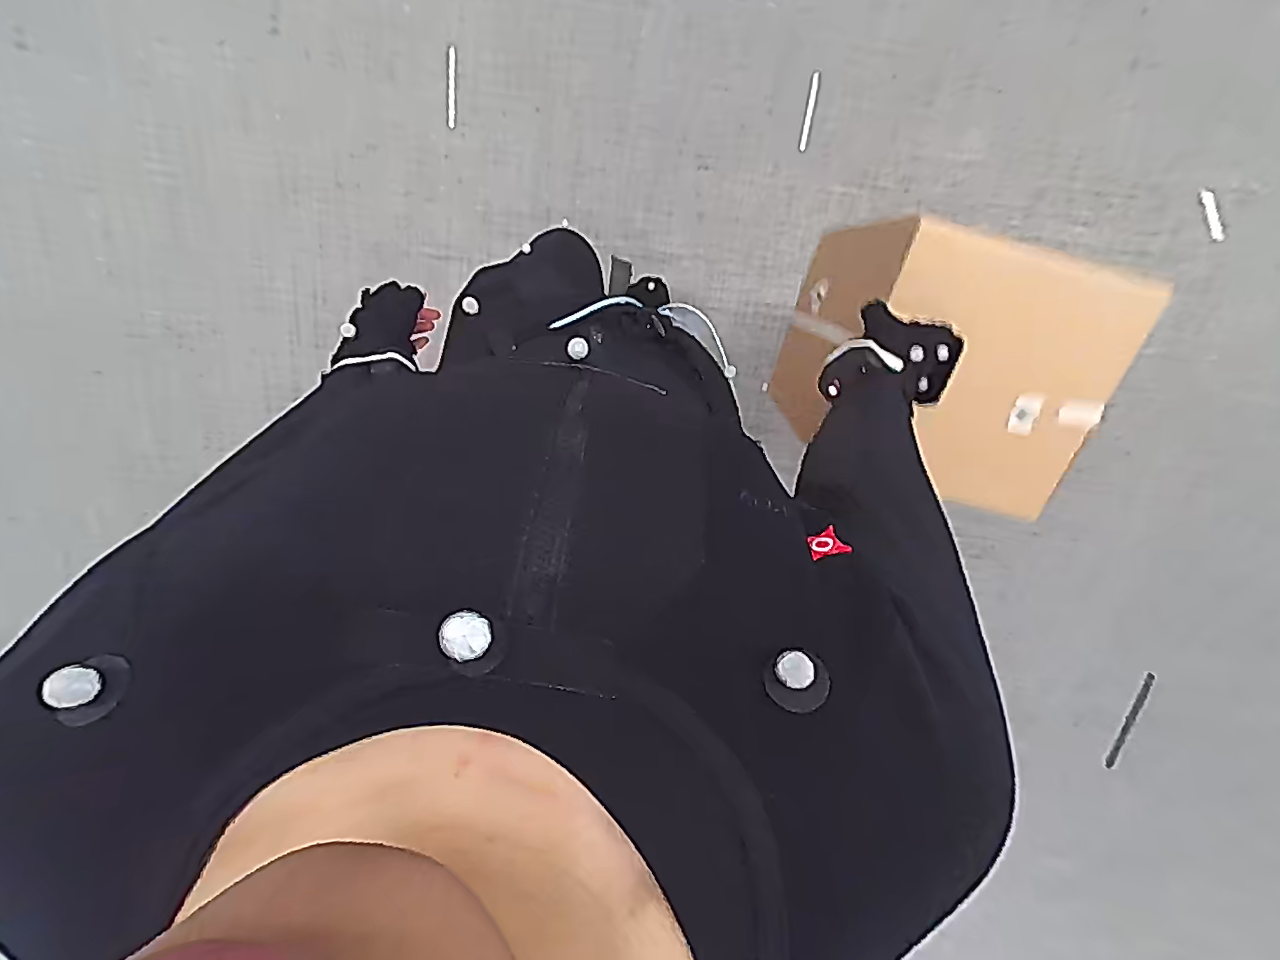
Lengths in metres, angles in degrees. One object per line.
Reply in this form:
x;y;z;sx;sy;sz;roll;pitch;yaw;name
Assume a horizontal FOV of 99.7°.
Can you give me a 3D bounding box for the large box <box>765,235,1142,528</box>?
0.431;-0.172;0.869;0.320;0.408;0.320;19;111;-3;large box
